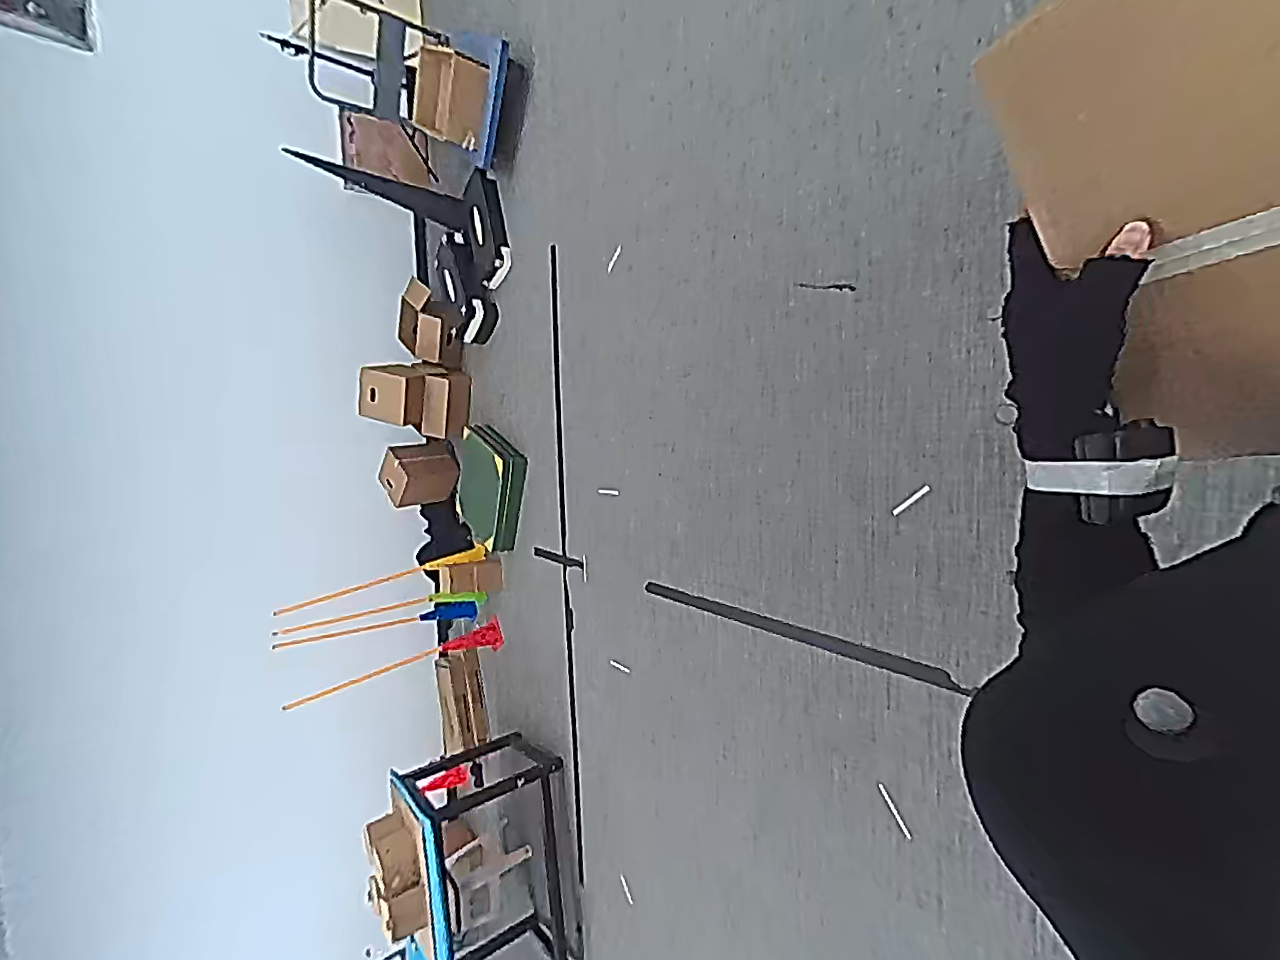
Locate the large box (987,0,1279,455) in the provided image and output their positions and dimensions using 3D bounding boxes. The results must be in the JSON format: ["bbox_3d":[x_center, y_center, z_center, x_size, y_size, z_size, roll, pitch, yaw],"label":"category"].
[{"bbox_3d":[0.488,-0.243,0.266,0.320,0.320,0.408,51,154,-18],"label":"large box"}]
